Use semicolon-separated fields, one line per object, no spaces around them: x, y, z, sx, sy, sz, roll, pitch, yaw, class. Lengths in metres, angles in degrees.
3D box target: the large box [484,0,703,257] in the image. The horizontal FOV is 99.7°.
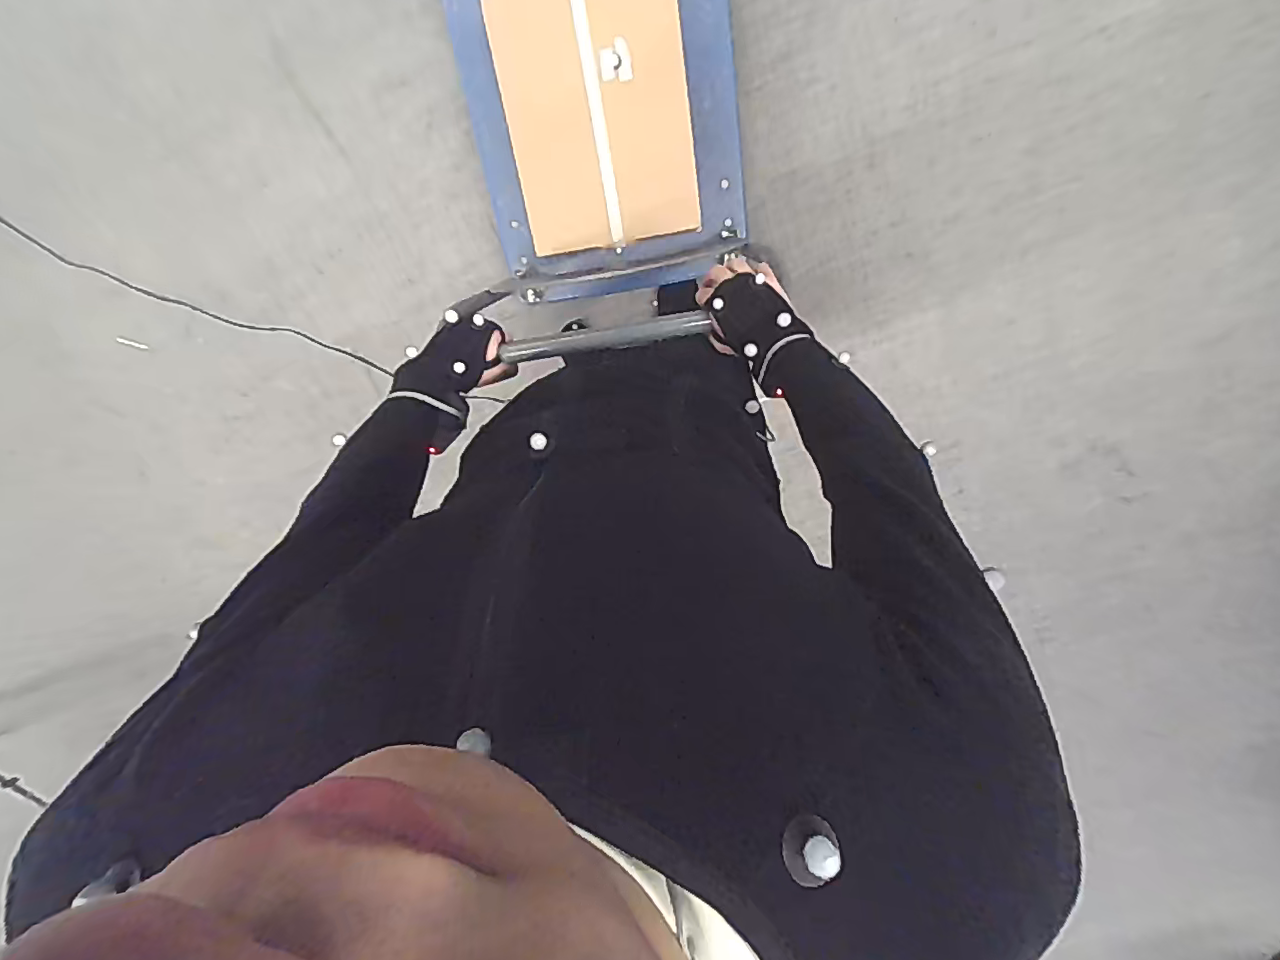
-0.059;-0.677;1.059;0.320;0.320;0.408;-7;112;6;large box
